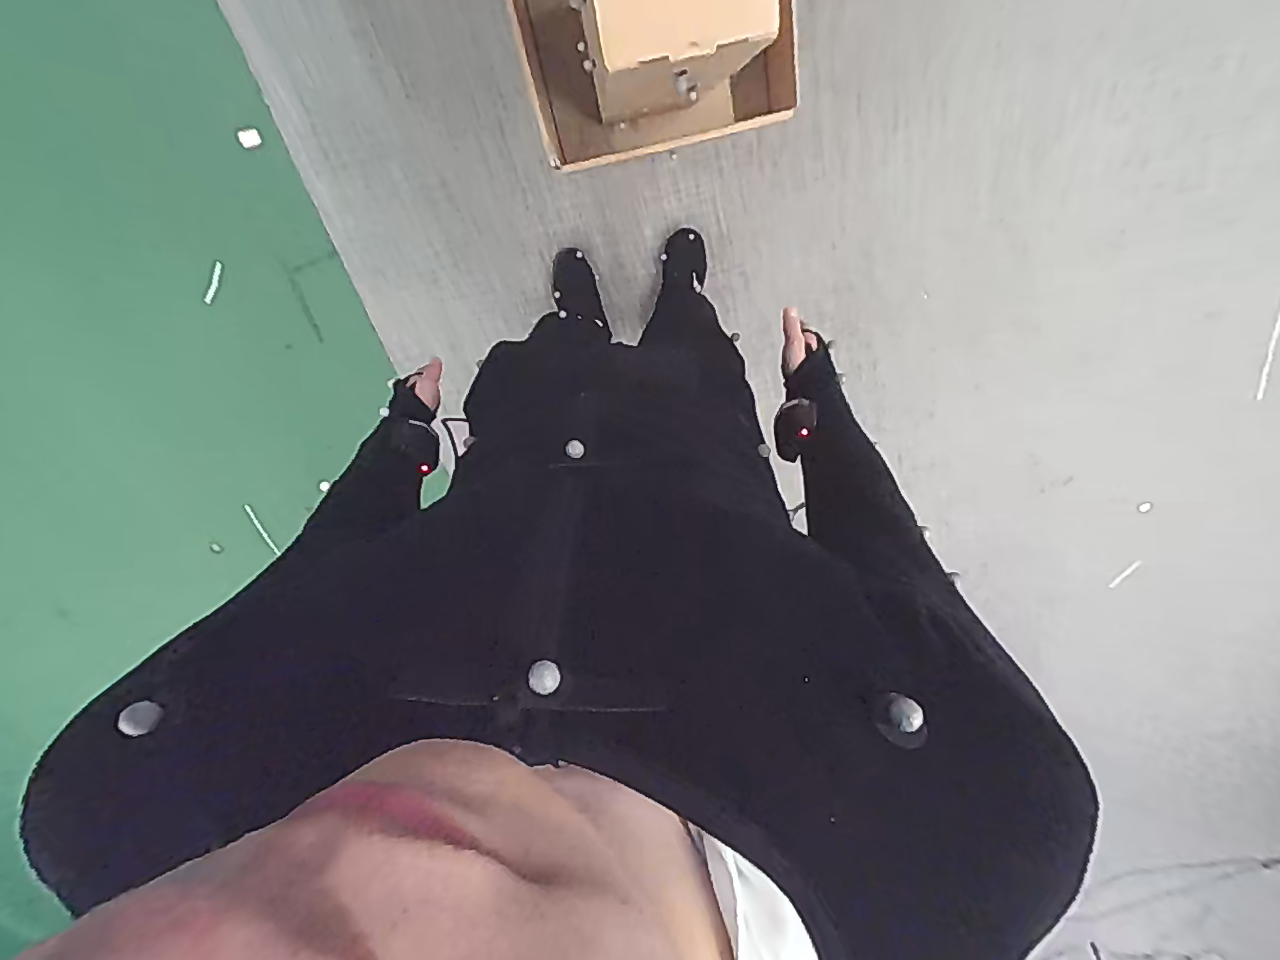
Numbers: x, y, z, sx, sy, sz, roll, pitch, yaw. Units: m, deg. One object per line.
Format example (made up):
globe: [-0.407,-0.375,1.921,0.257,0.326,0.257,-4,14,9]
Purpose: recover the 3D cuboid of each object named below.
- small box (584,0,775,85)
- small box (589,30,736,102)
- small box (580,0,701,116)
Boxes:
small box: [0.025,-0.507,0.524,0.168,0.176,0.179,-11,119,2]
small box: [0.017,-0.588,0.667,0.168,0.176,0.179,-10,117,2]
small box: [0.005,-0.666,0.809,0.168,0.176,0.179,-12,117,3]
